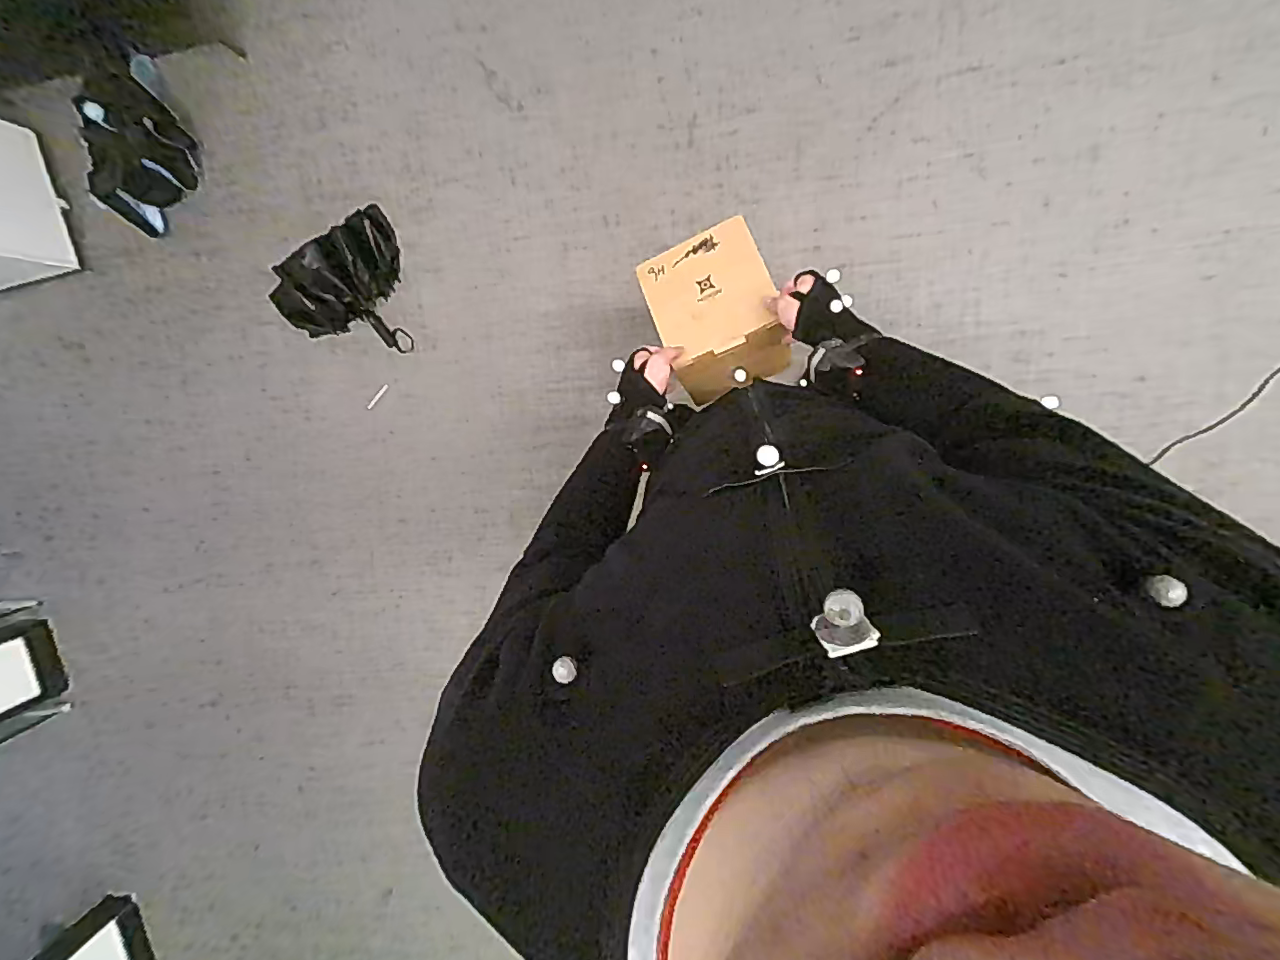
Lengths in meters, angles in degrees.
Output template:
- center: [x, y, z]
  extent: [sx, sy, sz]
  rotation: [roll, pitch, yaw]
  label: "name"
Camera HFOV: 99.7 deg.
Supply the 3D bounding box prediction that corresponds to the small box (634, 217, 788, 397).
- center: [0.113, -0.240, 0.809]
  extent: [0.168, 0.176, 0.179]
  rotation: [-21, 75, 14]
  label: "small box"
